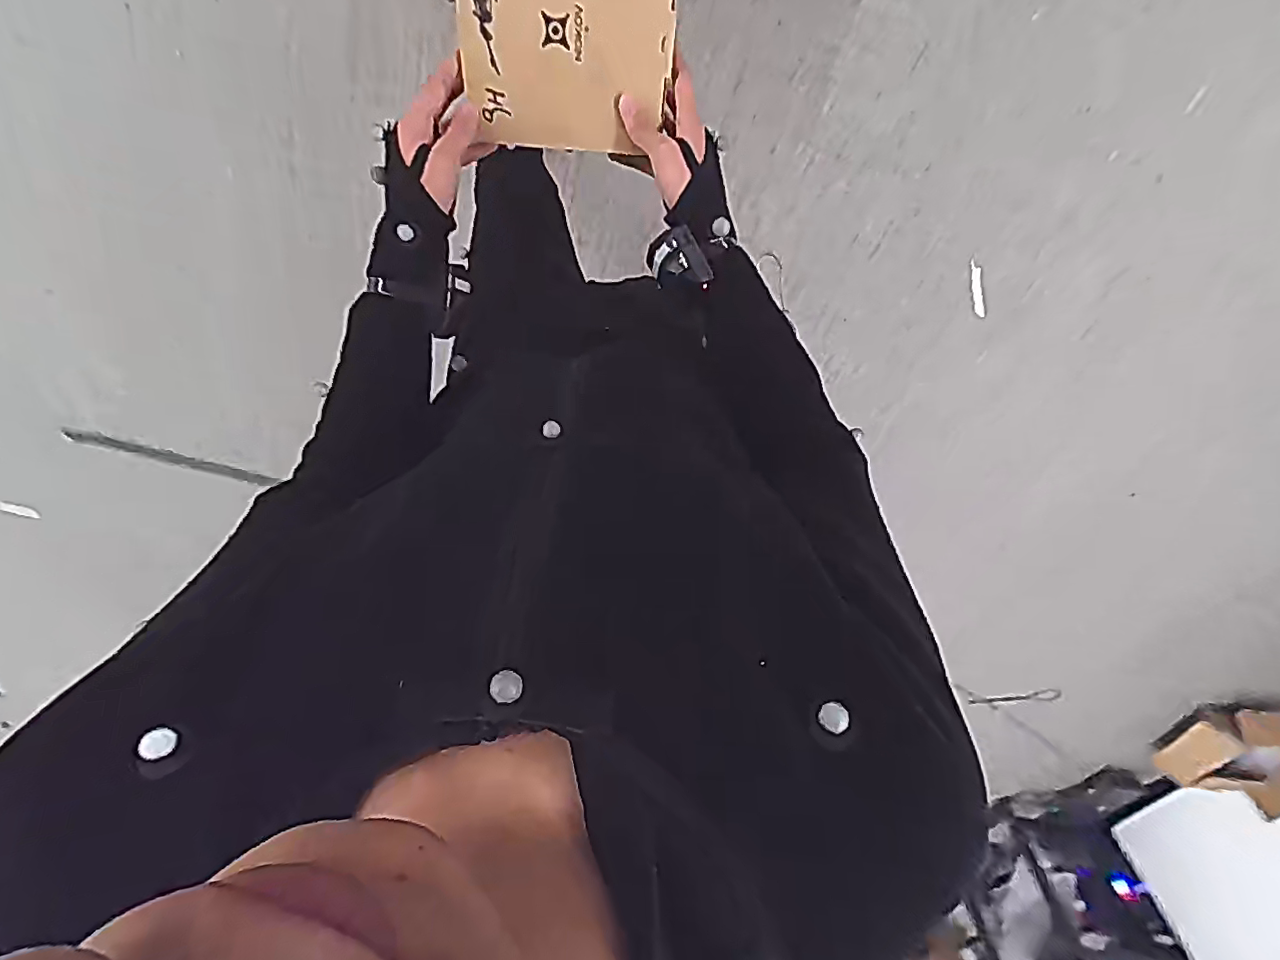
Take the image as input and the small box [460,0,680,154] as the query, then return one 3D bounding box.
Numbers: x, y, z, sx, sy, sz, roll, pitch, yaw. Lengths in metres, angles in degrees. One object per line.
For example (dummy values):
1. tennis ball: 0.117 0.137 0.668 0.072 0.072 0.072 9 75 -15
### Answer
1. small box: -0.064 -0.419 0.501 0.179 0.176 0.168 2 128 -7
